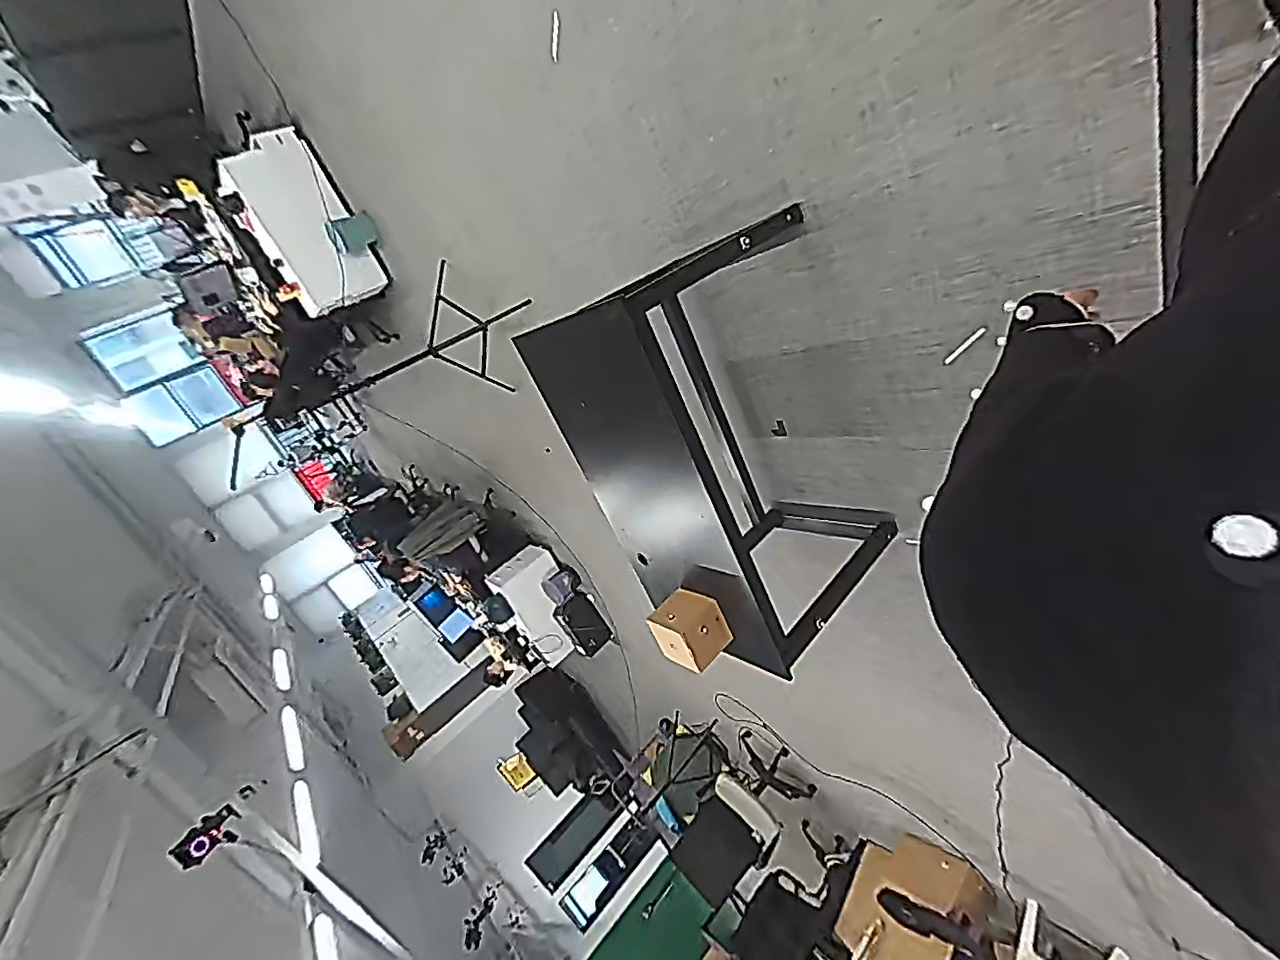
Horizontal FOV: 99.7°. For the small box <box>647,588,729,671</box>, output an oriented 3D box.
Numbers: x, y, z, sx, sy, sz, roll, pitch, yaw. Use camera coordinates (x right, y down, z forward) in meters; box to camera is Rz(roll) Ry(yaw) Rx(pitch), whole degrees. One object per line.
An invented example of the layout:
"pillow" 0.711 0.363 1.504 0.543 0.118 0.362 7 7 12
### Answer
"small box" 0.161 0.469 1.728 0.179 0.176 0.168 6 127 55
